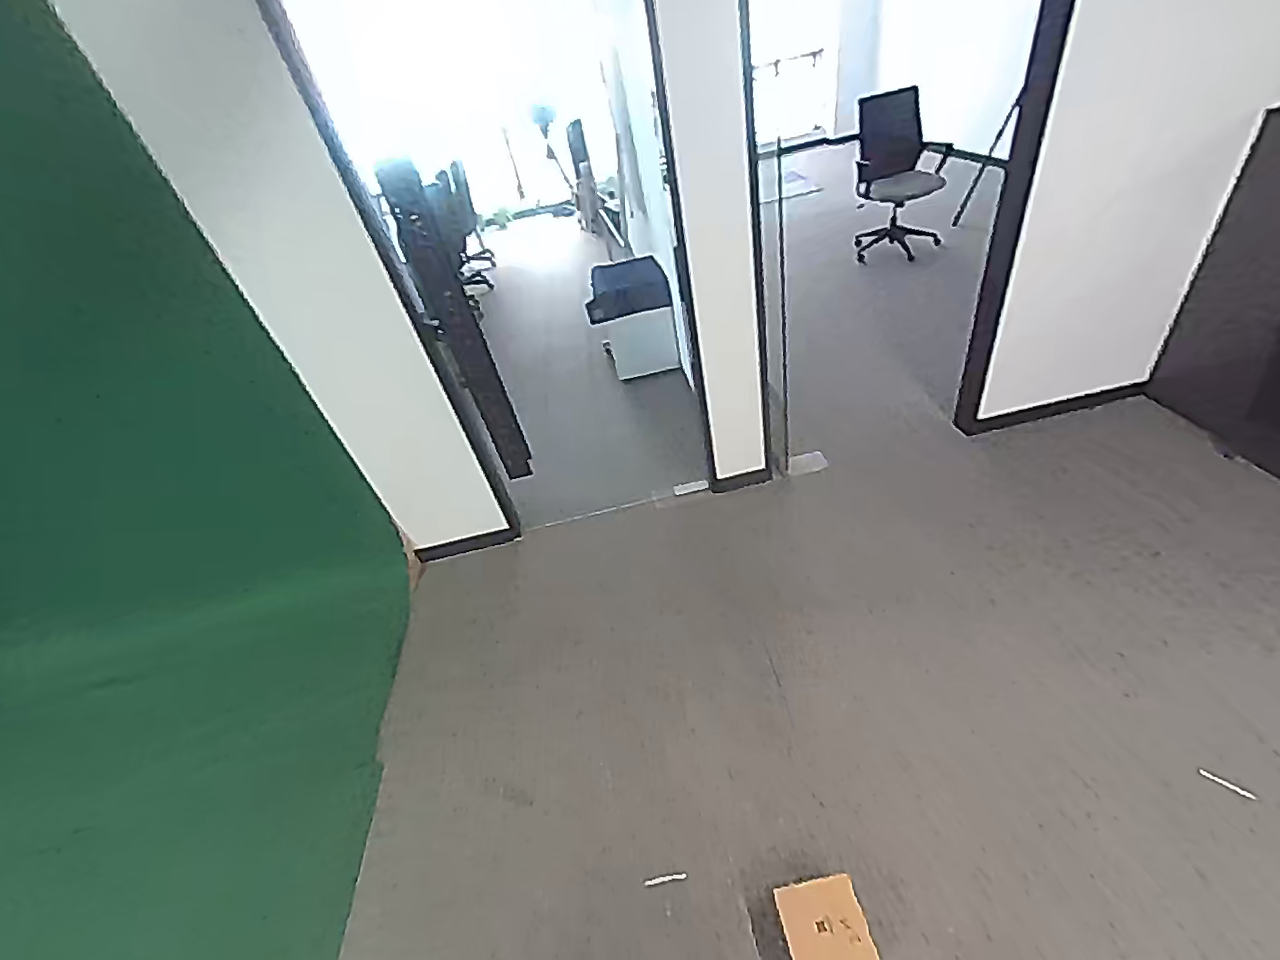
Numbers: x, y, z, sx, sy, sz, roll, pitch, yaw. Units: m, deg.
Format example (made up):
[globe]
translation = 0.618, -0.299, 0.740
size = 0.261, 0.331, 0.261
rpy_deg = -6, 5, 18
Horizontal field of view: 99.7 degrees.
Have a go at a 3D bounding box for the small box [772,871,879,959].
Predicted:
[small box]
translation = 0.404, 1.002, 1.194
size = 0.179, 0.176, 0.168
rpy_deg = -12, 39, 1
